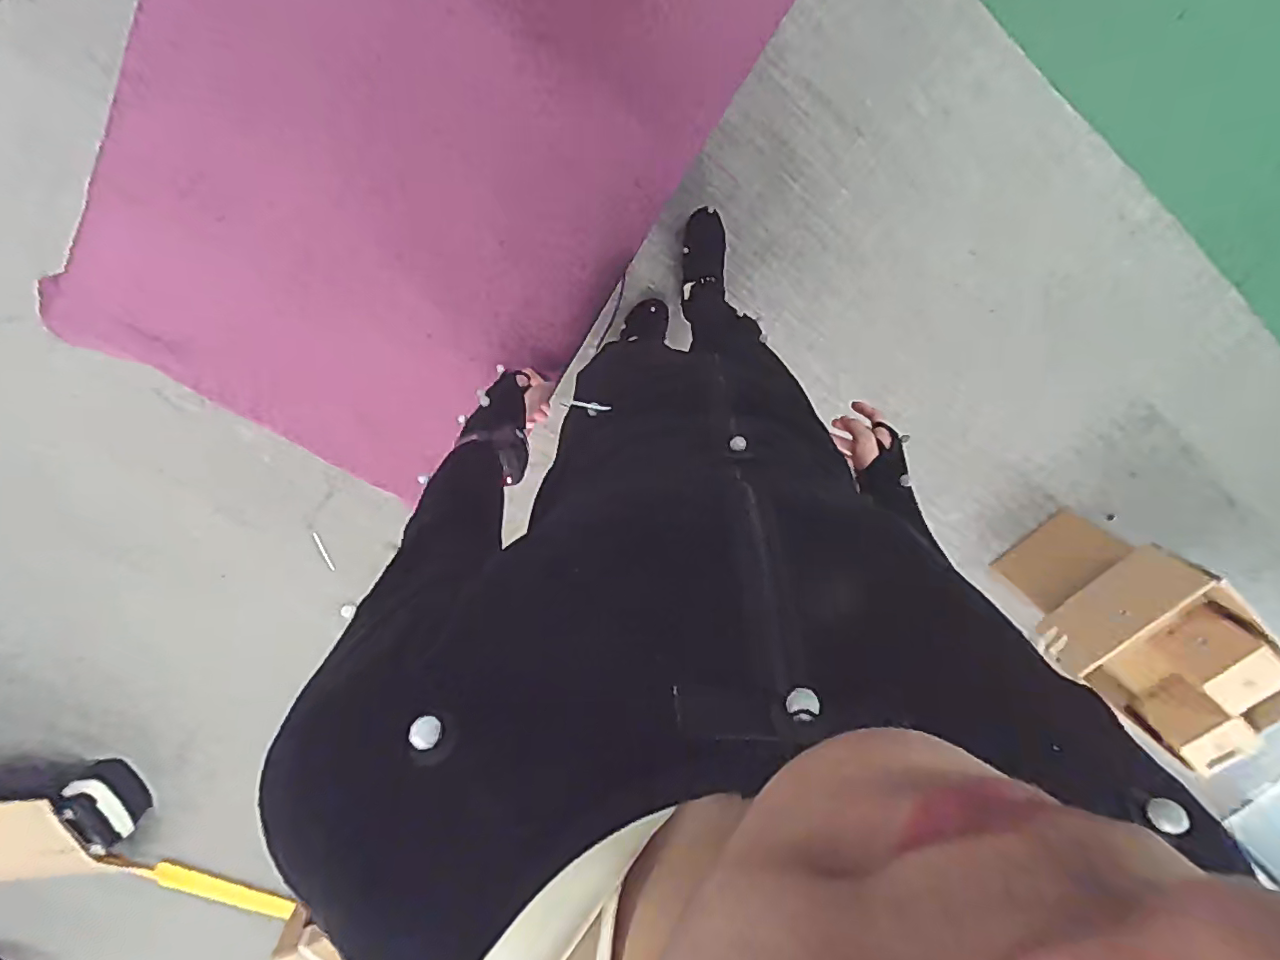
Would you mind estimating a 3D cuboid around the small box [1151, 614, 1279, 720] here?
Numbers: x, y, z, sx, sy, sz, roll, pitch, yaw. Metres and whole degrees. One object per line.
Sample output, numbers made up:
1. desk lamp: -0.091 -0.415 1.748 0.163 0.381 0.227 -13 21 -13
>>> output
1. small box: 1.512 0.479 1.412 0.179 0.176 0.168 37 108 -16
